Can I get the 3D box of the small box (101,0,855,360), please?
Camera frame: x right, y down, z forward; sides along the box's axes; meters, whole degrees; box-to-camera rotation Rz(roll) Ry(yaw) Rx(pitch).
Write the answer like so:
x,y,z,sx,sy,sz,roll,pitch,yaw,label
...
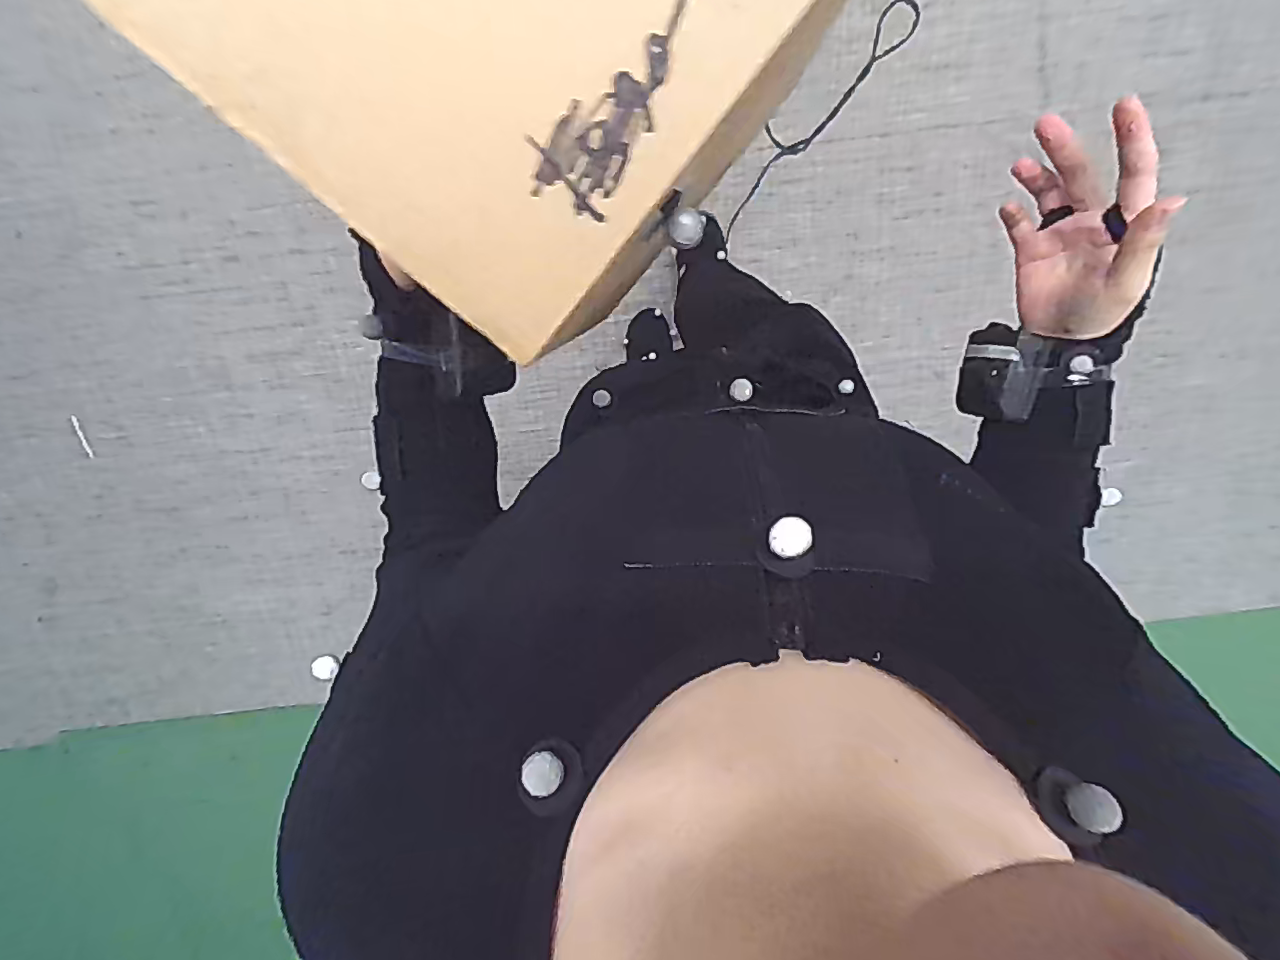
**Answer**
x,y,z,sx,sy,sz,roll,pitch,yaw,label
-0.040,-0.173,0.218,0.179,0.176,0.168,39,108,-9,small box
